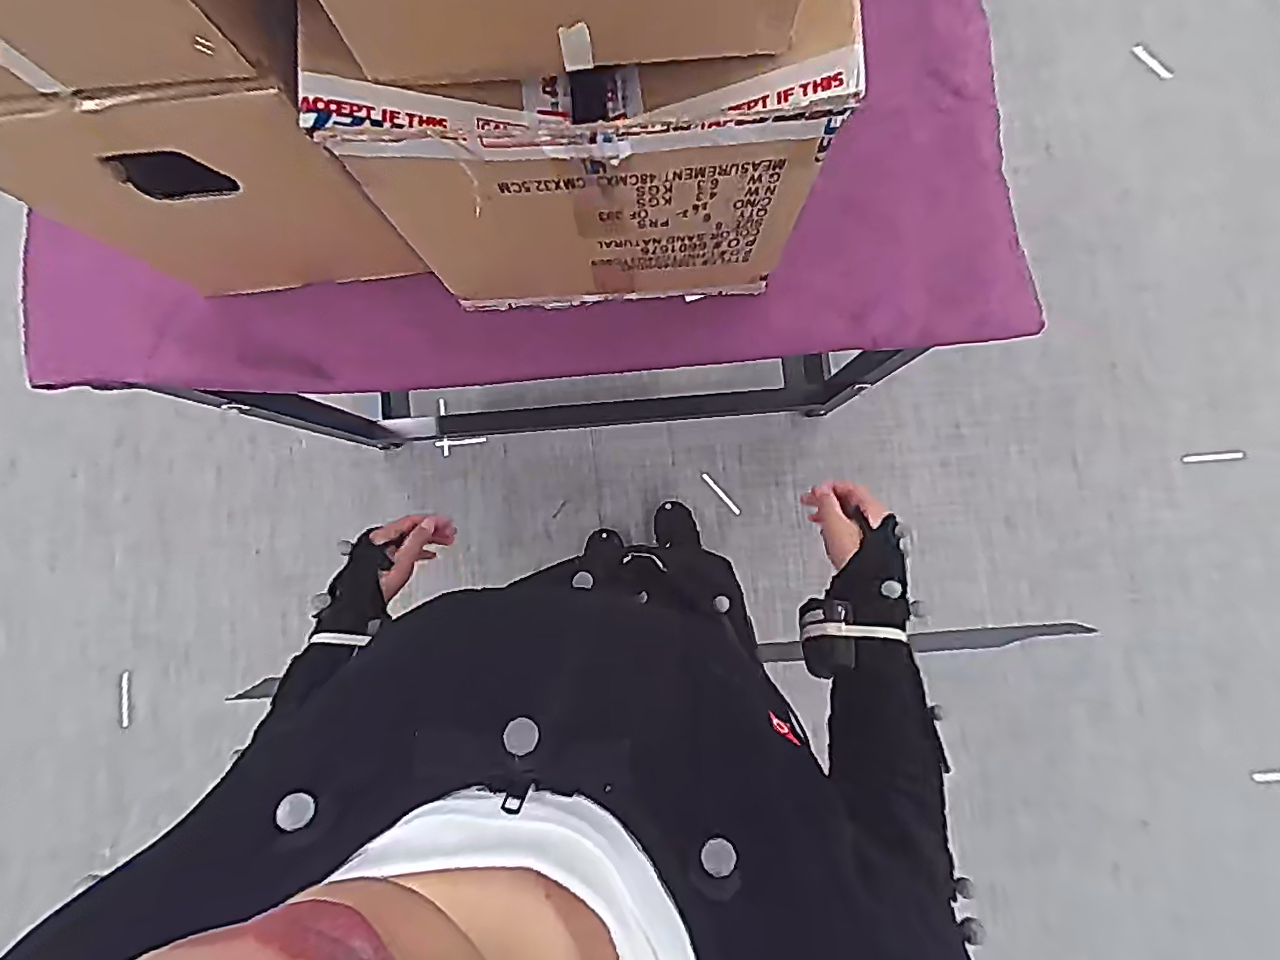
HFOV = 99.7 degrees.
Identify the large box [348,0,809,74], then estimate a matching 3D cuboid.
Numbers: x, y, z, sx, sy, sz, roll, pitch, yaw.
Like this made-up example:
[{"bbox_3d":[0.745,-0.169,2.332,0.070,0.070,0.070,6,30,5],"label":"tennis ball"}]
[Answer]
[{"bbox_3d":[-0.052,-0.512,0.258,0.320,0.320,0.408,-5,86,1],"label":"large box"}]
